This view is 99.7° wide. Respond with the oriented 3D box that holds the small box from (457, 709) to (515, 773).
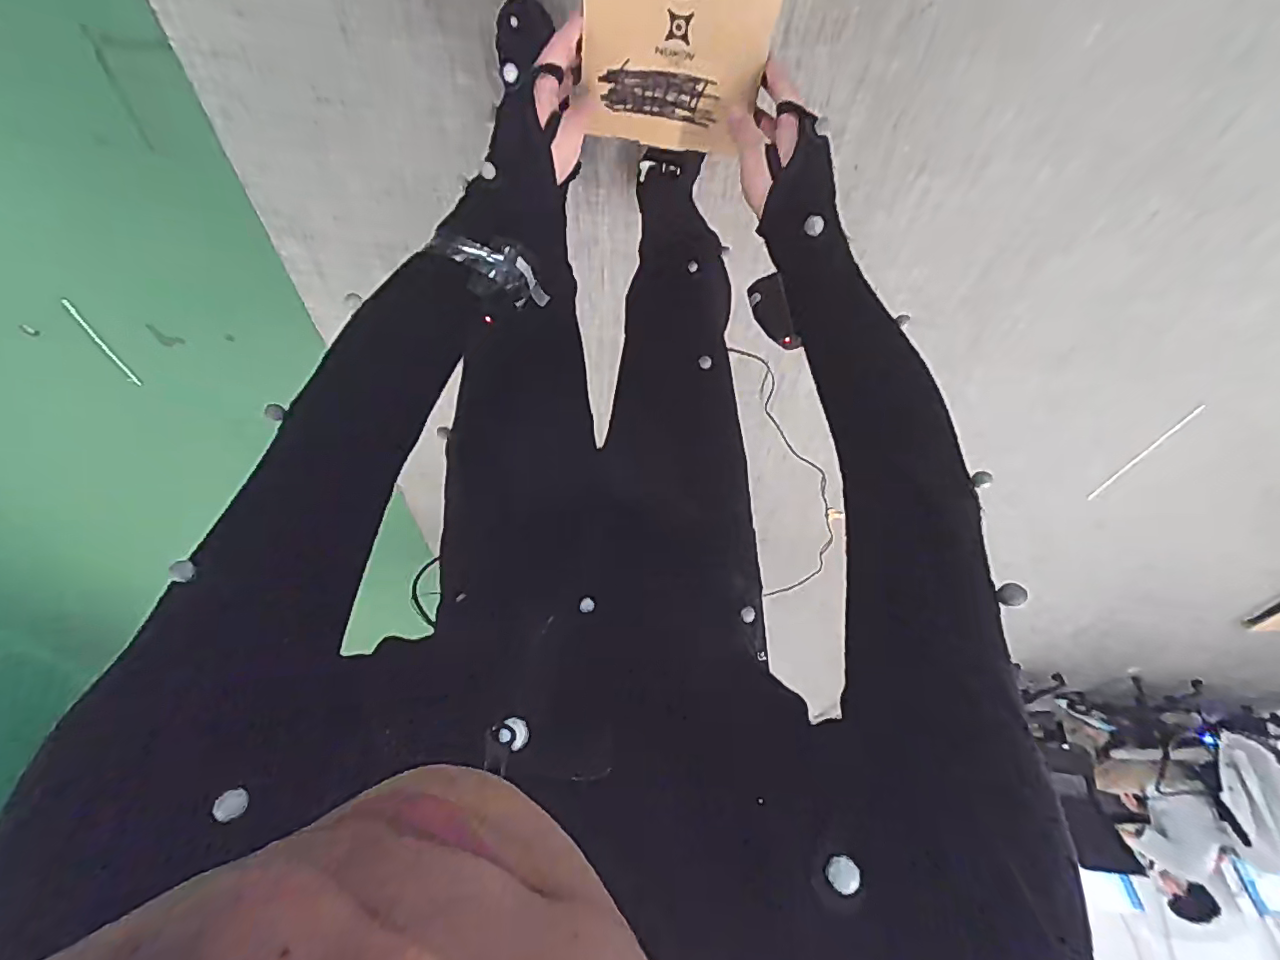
[{"bbox_3d":[-0.529,0.900,1.866,0.168,0.176,0.179,9,143,-9],"label":"small box"}]
